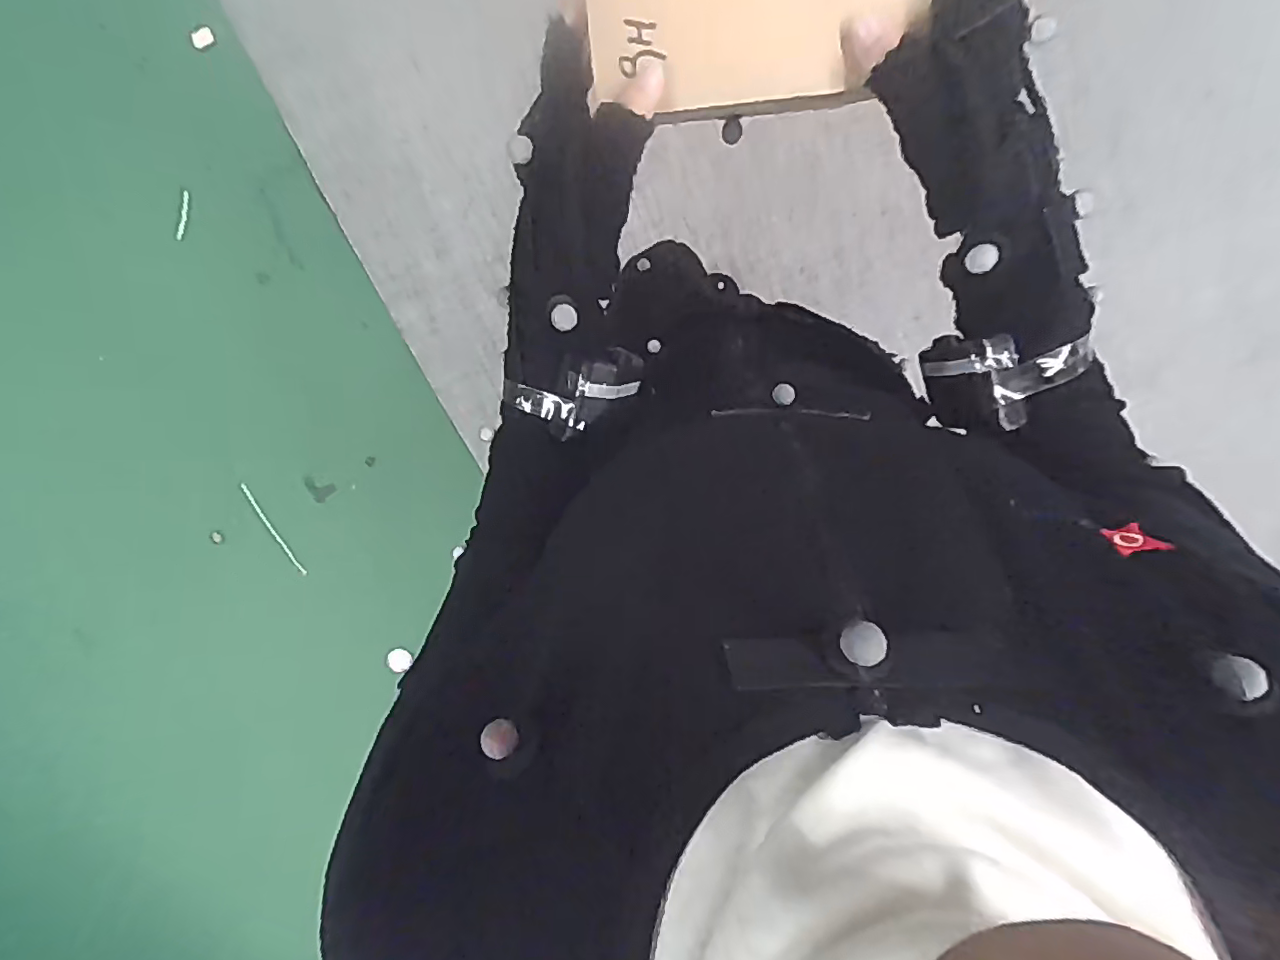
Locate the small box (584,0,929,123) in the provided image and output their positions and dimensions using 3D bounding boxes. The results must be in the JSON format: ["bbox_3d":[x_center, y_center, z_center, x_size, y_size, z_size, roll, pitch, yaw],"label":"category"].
[{"bbox_3d":[0.055,-0.318,0.317,0.179,0.176,0.168,-4,120,3],"label":"small box"}]
